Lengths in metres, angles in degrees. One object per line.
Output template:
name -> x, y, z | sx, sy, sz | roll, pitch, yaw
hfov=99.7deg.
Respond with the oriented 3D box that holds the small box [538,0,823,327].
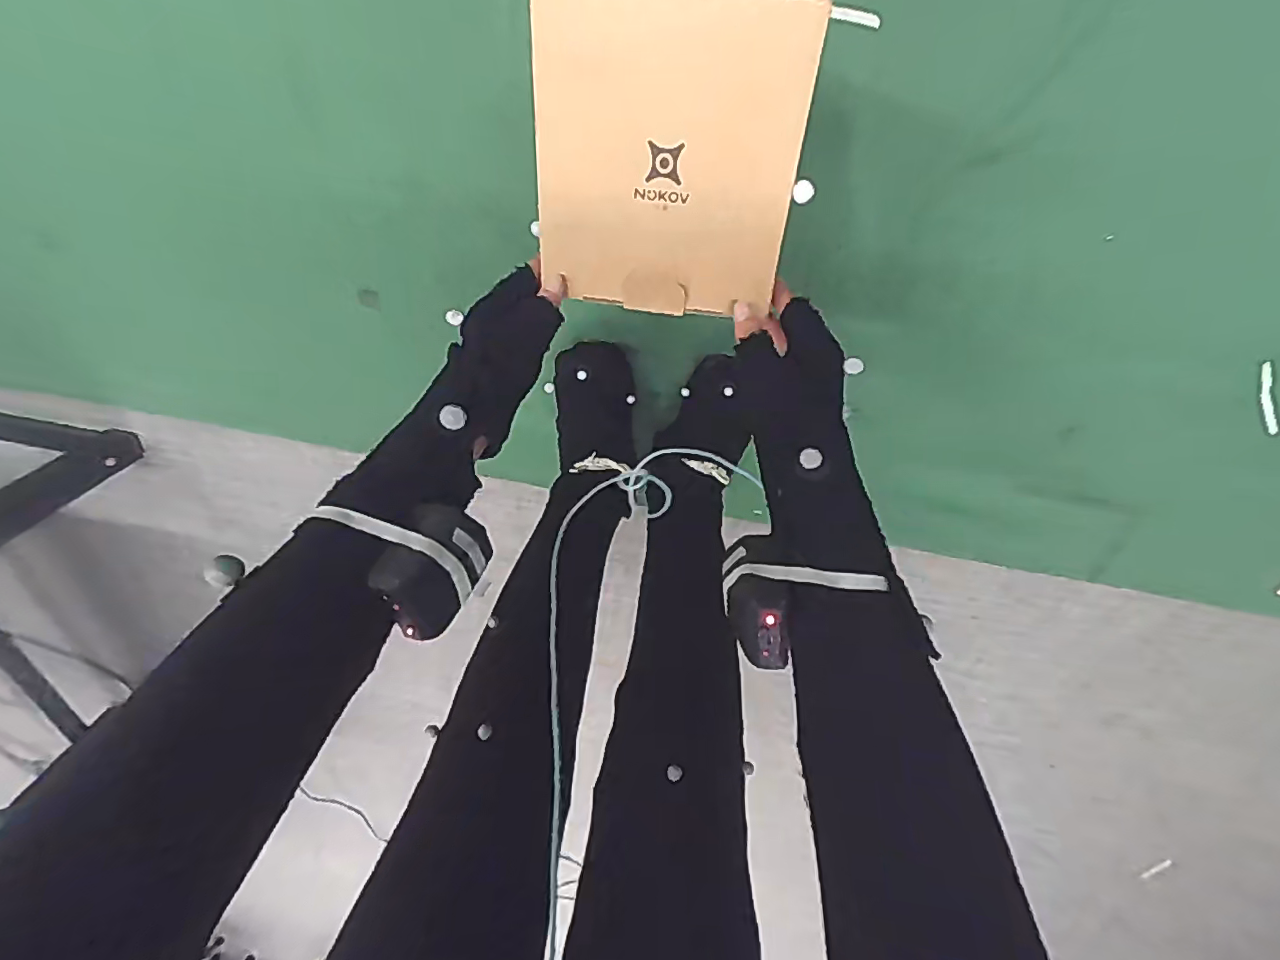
small box -> 0.024, -0.238, 0.414 | 0.168, 0.176, 0.179 | 8, 126, 3
